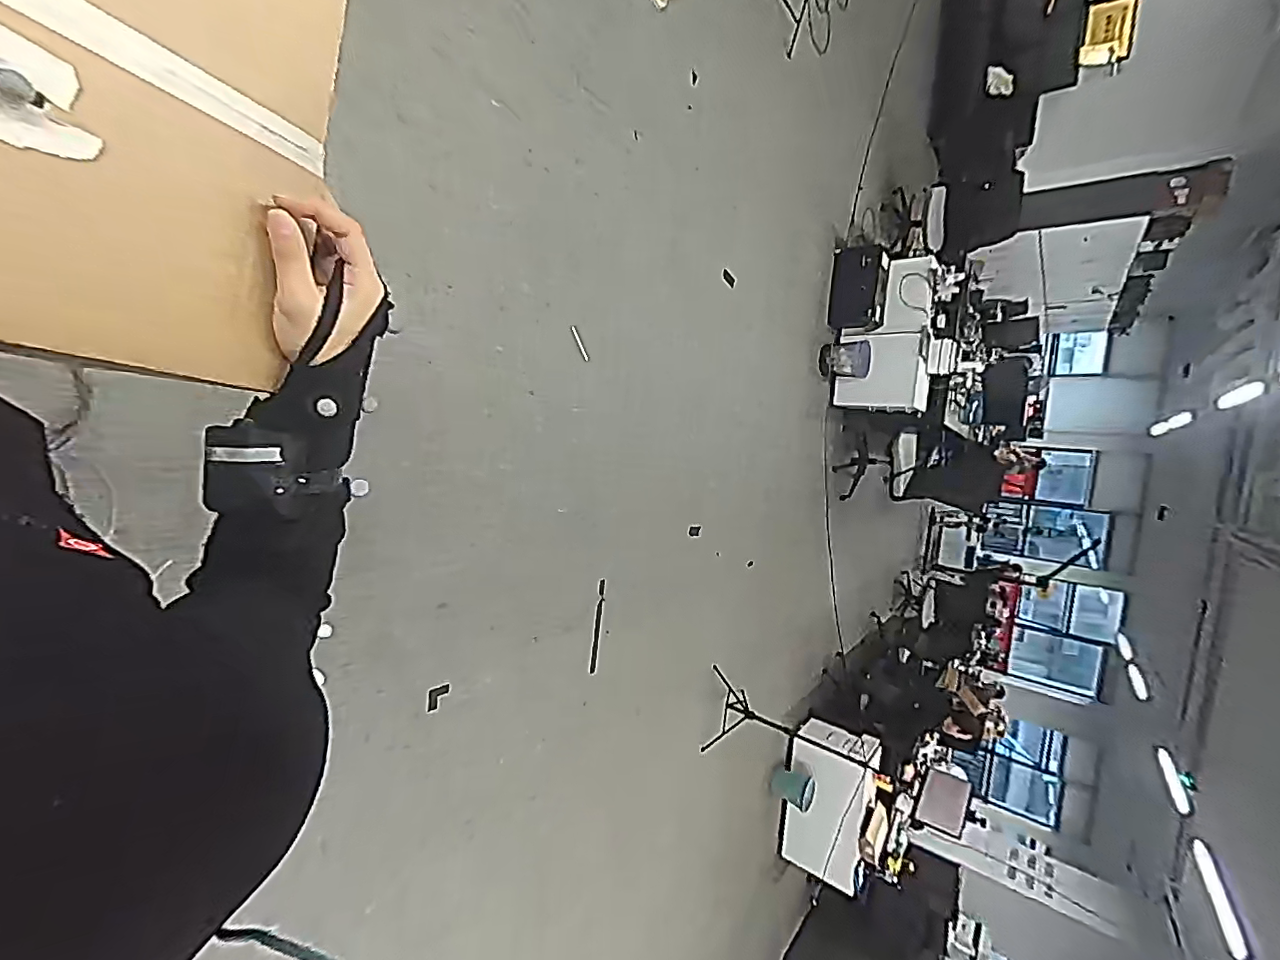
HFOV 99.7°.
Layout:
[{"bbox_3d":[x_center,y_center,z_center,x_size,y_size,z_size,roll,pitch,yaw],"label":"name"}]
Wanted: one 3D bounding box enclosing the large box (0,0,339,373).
[{"bbox_3d":[-0.446,-0.253,0.266,0.408,0.320,0.320,7,93,-62],"label":"large box"}]
